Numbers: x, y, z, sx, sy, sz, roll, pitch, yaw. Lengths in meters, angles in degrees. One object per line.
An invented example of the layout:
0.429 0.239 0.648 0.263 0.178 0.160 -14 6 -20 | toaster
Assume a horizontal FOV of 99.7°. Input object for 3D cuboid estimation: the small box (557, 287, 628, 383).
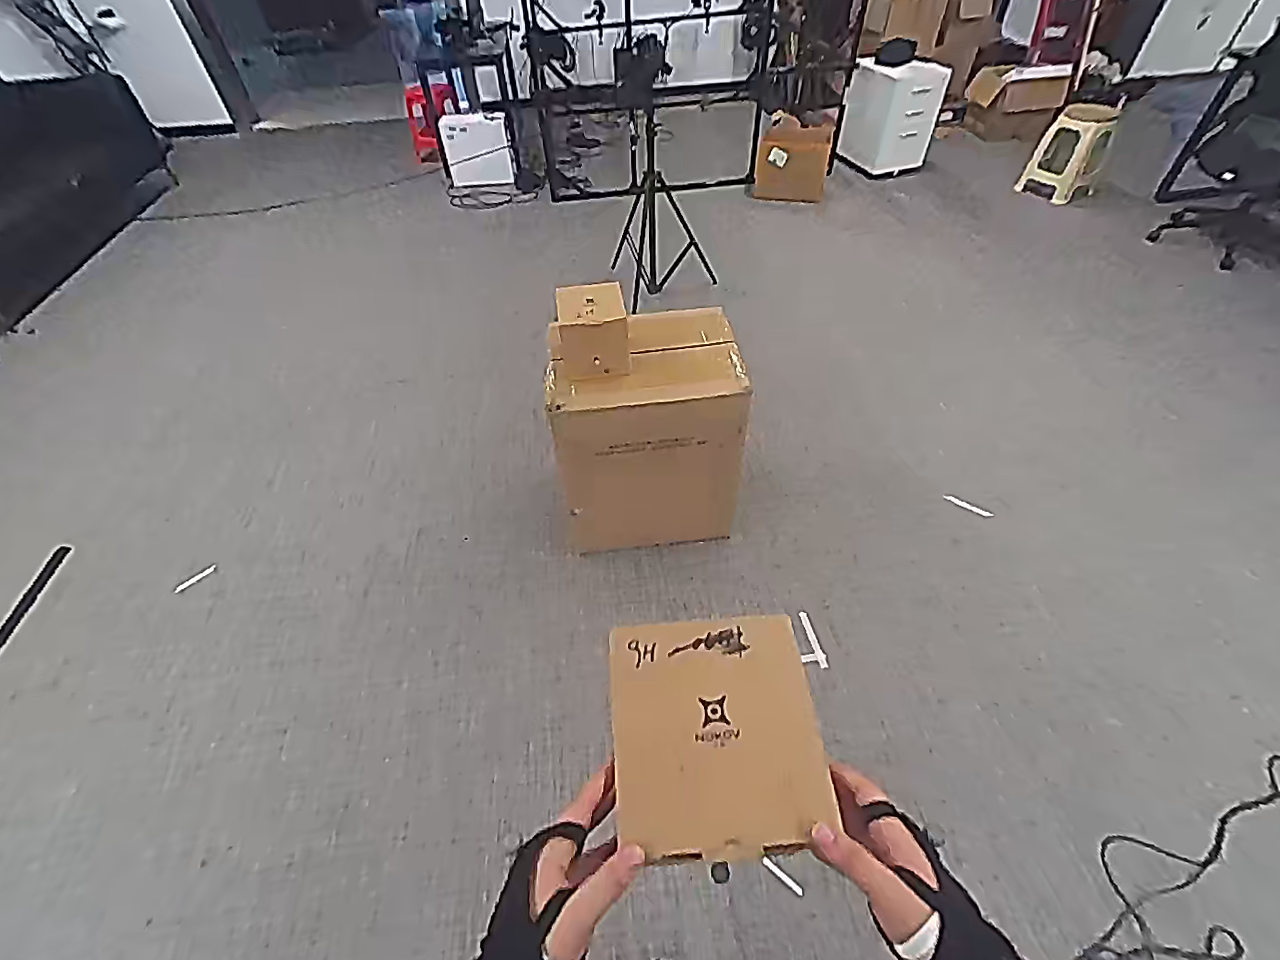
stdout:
-0.123 -0.376 1.404 0.168 0.176 0.179 -7 50 -4 | small box
